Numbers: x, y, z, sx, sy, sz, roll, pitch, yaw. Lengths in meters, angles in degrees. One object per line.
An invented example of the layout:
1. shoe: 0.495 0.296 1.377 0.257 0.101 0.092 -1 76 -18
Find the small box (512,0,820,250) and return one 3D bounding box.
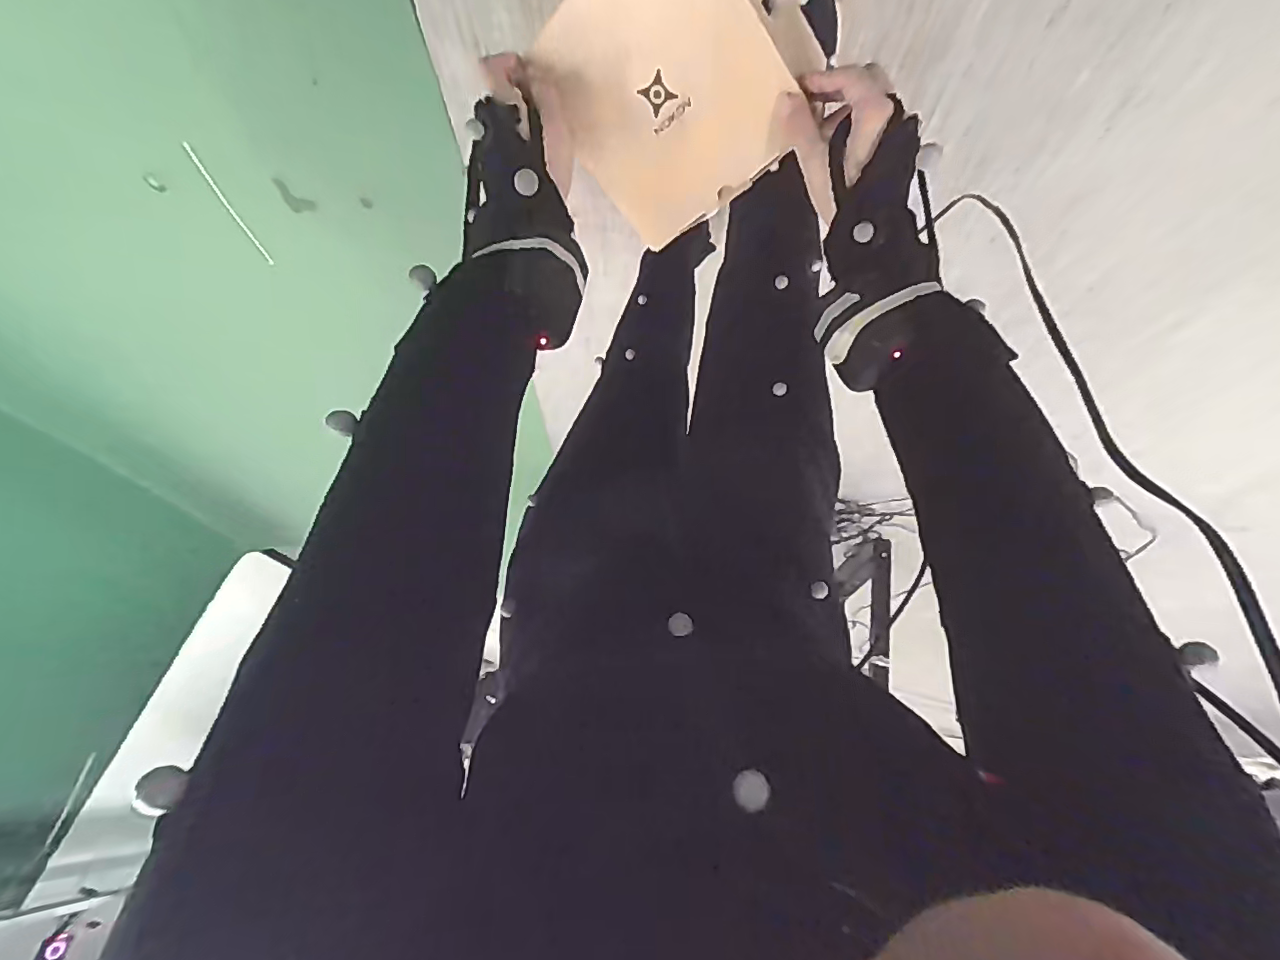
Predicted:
1. small box: 0.032 -0.342 0.450 0.168 0.176 0.179 -23 128 40
